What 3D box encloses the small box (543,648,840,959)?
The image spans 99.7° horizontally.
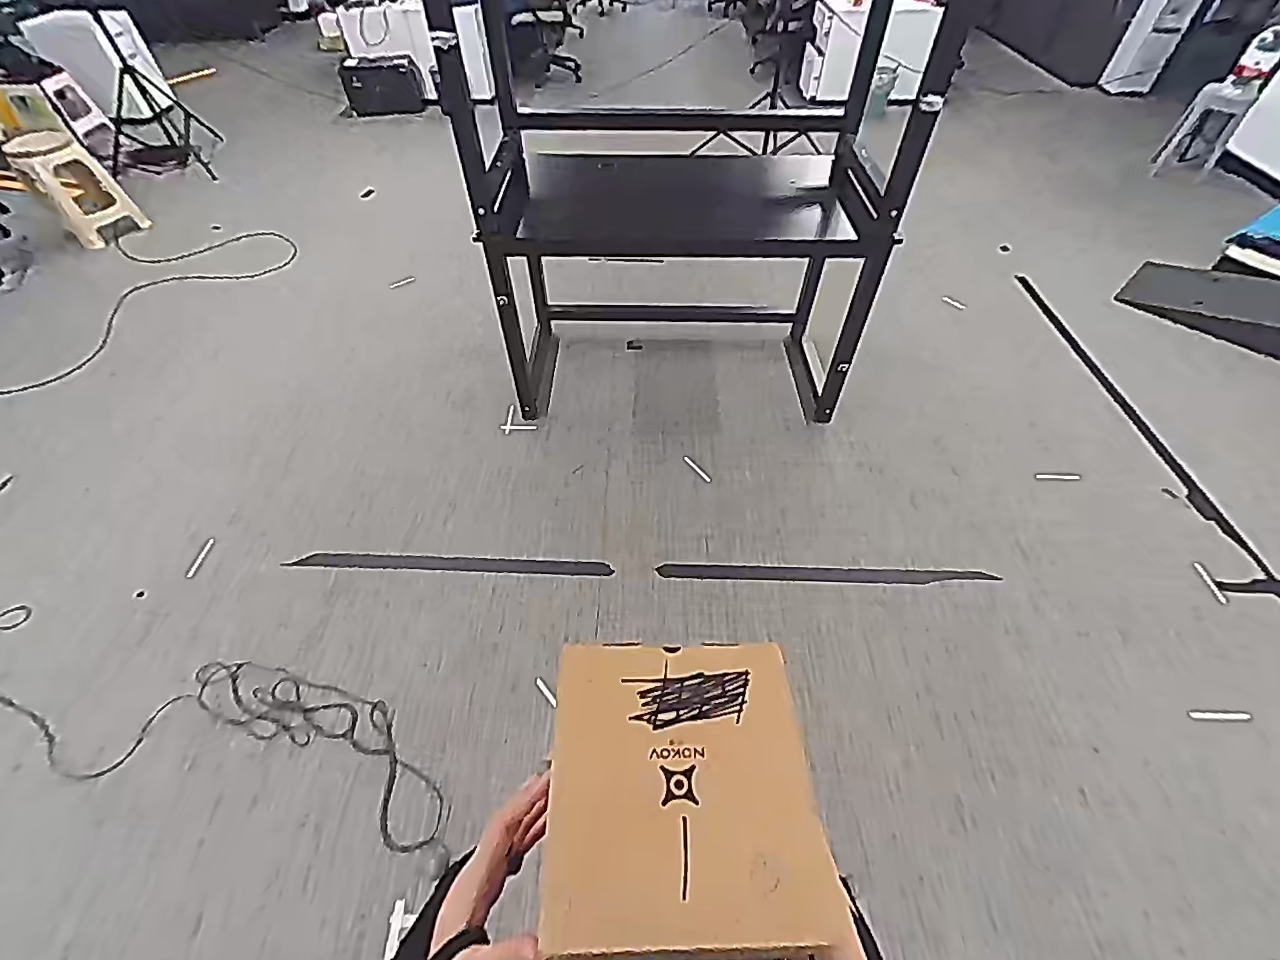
[{"bbox_3d":[0.023,0.246,0.407,0.168,0.176,0.179,1,46,-3],"label":"small box"}]
